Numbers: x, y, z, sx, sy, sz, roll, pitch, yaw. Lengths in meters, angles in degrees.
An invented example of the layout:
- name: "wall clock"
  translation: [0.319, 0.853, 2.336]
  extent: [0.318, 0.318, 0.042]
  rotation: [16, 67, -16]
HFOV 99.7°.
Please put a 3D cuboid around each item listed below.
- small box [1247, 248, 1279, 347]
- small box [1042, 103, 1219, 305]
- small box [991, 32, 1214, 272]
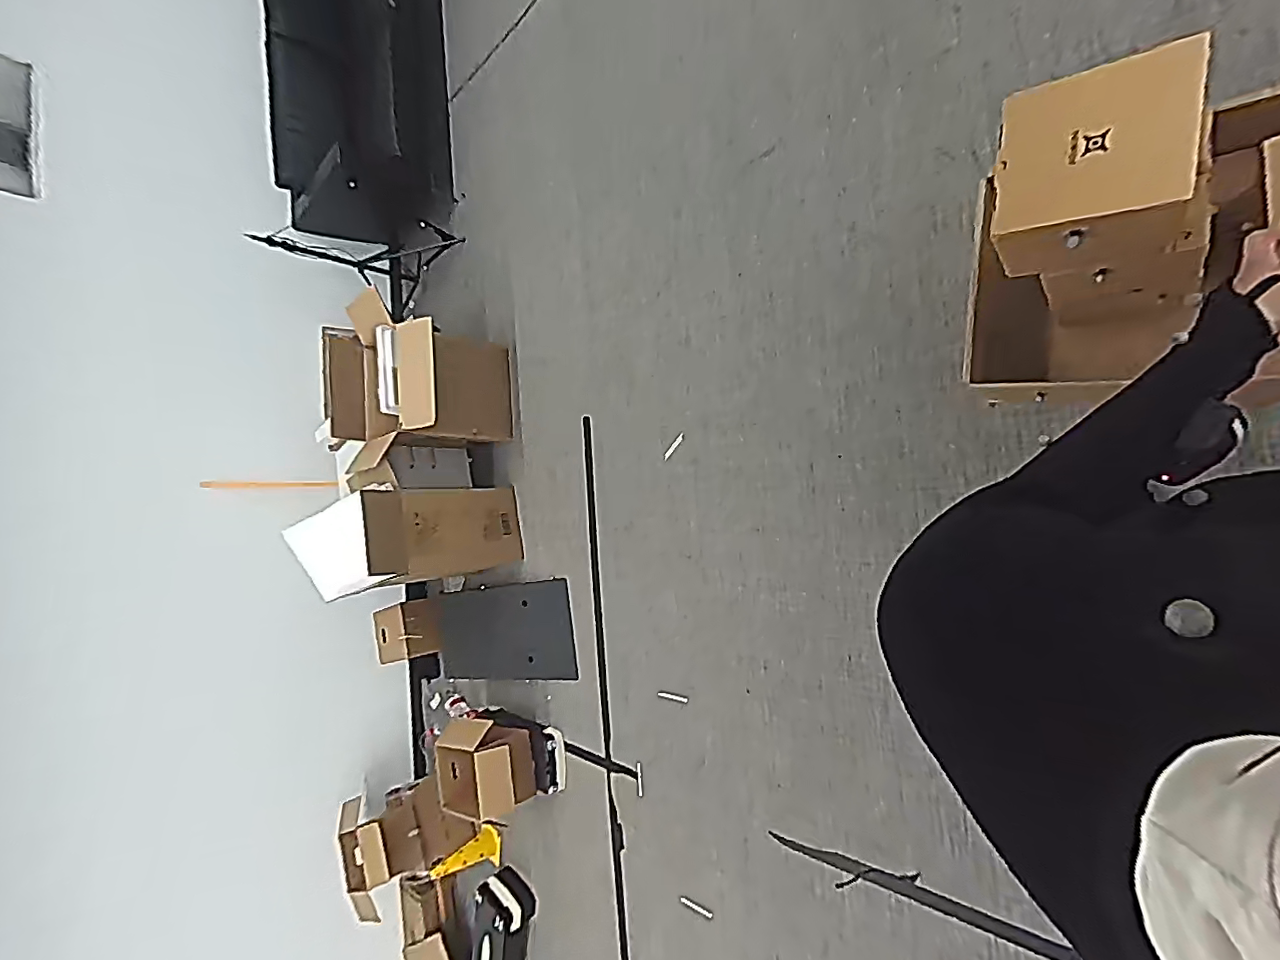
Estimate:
- name: "small box"
  translation: [0.729, -0.219, 0.499]
  extent: [0.179, 0.176, 0.168]
  rotation: [21, 91, 36]
- name: "small box"
  translation: [0.673, -0.364, 0.753]
  extent: [0.168, 0.176, 0.179]
  rotation: [2, 91, 42]
- name: "small box"
  translation: [0.545, -0.367, 0.648]
  extent: [0.179, 0.176, 0.168]
  rotation: [6, 93, 42]
